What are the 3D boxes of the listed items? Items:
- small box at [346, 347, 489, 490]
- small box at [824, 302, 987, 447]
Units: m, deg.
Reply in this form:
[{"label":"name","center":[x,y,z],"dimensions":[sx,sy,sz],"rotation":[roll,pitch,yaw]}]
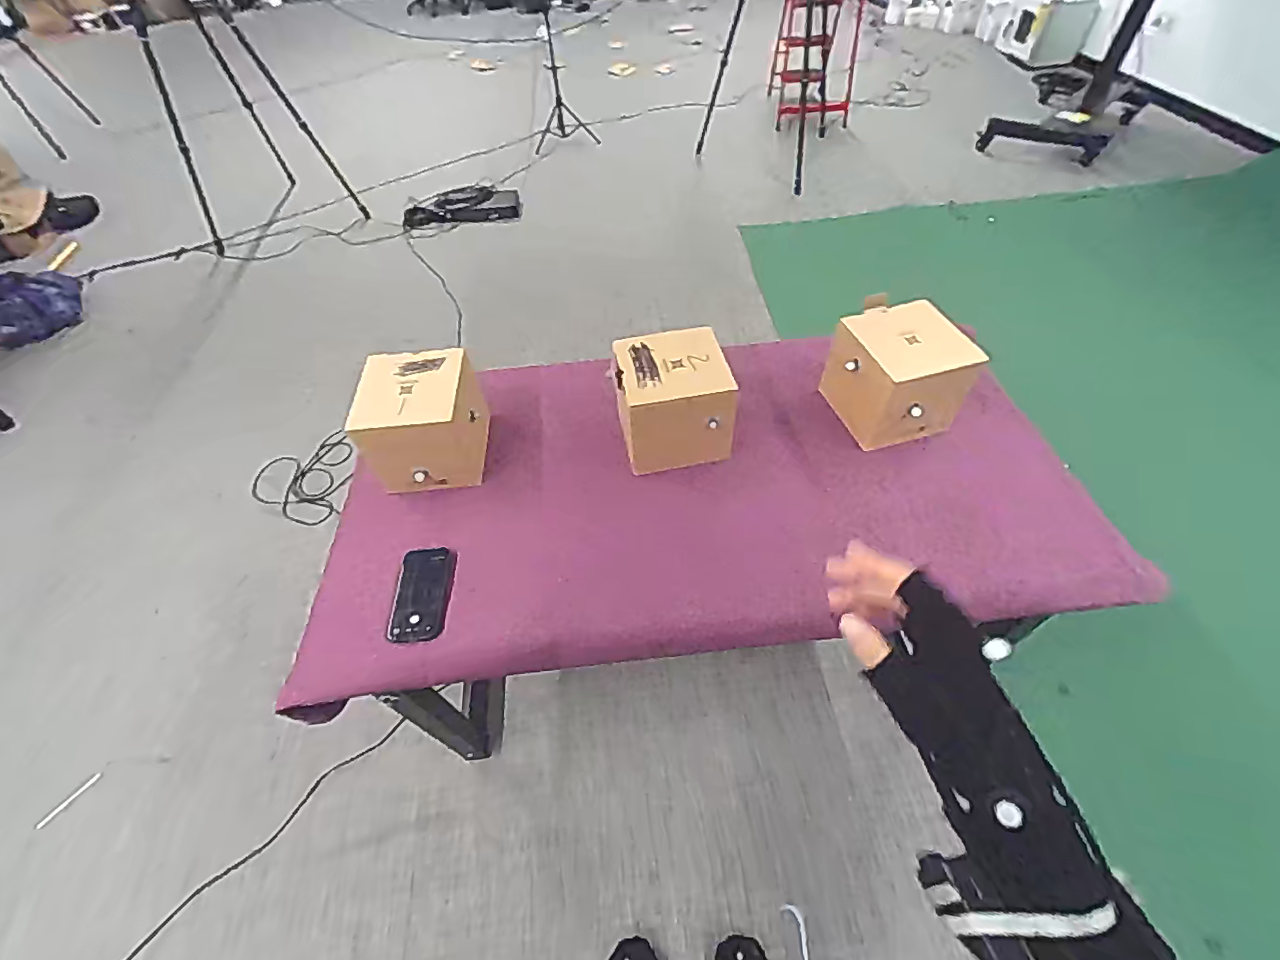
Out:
[{"label":"small box","center":[-0.365,-0.104,0.927],"dimensions":[0.168,0.176,0.179],"rotation":[-5,53,0]},{"label":"small box","center":[0.445,-0.175,0.940],"dimensions":[0.168,0.176,0.179],"rotation":[-14,52,-7]}]
